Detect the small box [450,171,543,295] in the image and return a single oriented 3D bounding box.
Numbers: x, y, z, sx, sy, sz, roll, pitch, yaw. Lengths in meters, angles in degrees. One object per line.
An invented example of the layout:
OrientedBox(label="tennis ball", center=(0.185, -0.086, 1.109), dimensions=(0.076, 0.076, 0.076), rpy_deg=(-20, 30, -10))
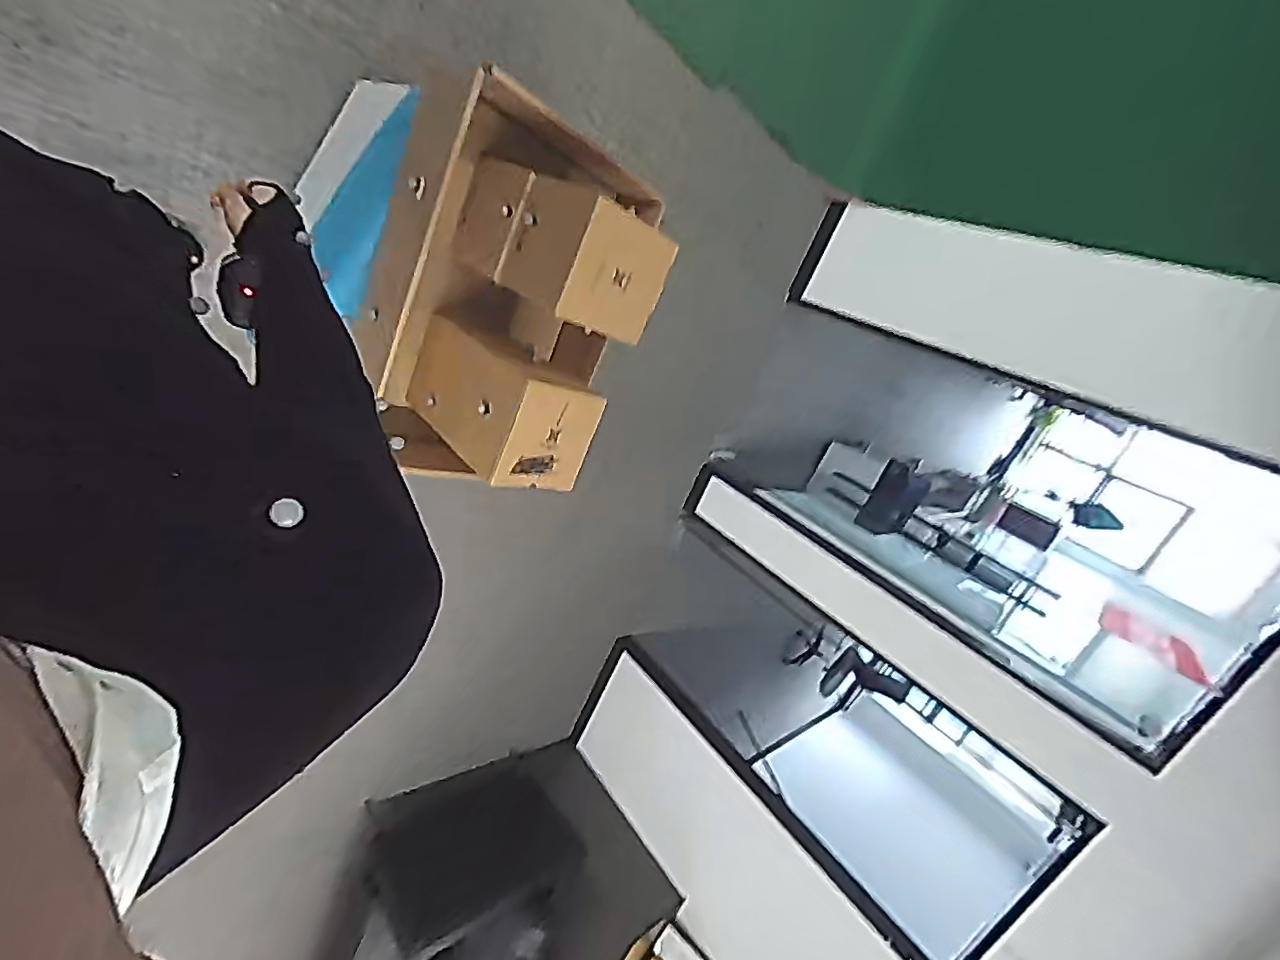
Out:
OrientedBox(label="small box", center=(-0.189, -0.402, 0.926), dimensions=(0.179, 0.176, 0.168), rpy_deg=(7, 114, -50))

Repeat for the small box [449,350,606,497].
OrientedBox(label="small box", center=(-0.193, -0.091, 0.897), dimensions=(0.168, 0.176, 0.179), rpy_deg=(6, 113, -50))

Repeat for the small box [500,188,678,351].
OrientedBox(label="small box", center=(-0.081, -0.323, 0.833), dimensions=(0.179, 0.176, 0.168), rpy_deg=(7, 114, -49))
